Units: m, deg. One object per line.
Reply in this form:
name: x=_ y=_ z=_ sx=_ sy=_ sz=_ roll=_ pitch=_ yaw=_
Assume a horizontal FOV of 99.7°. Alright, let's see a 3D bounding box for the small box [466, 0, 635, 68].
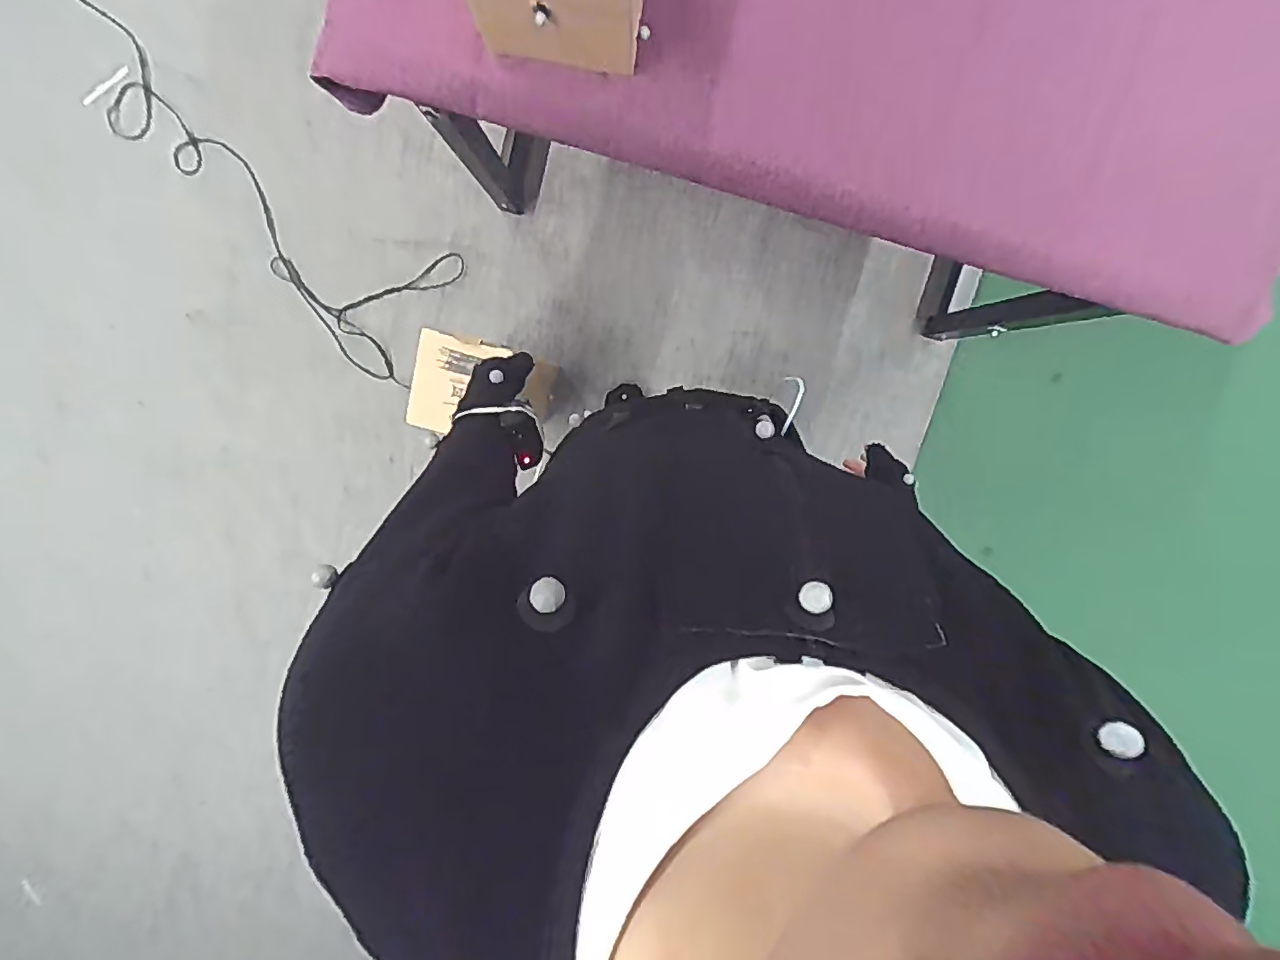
small box: x=-0.087 y=-0.568 z=0.557 sx=0.179 sy=0.176 sz=0.168 roll=9 pitch=99 yaw=-2
